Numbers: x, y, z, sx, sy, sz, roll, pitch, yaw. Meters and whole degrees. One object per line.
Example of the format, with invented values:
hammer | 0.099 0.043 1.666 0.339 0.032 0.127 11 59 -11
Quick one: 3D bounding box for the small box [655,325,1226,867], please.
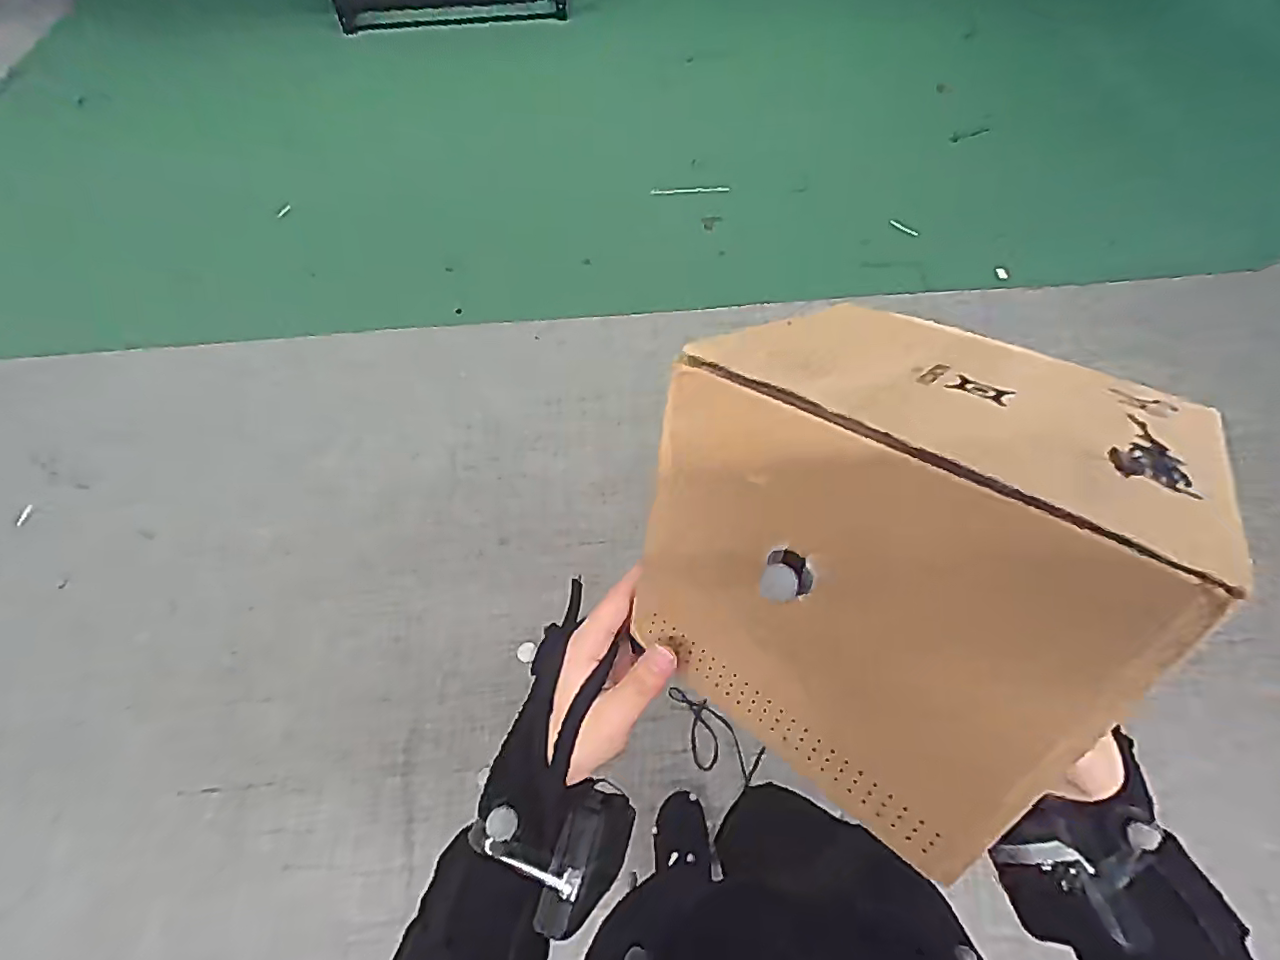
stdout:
small box | 0.125 0.037 0.273 0.179 0.176 0.168 29 39 31
